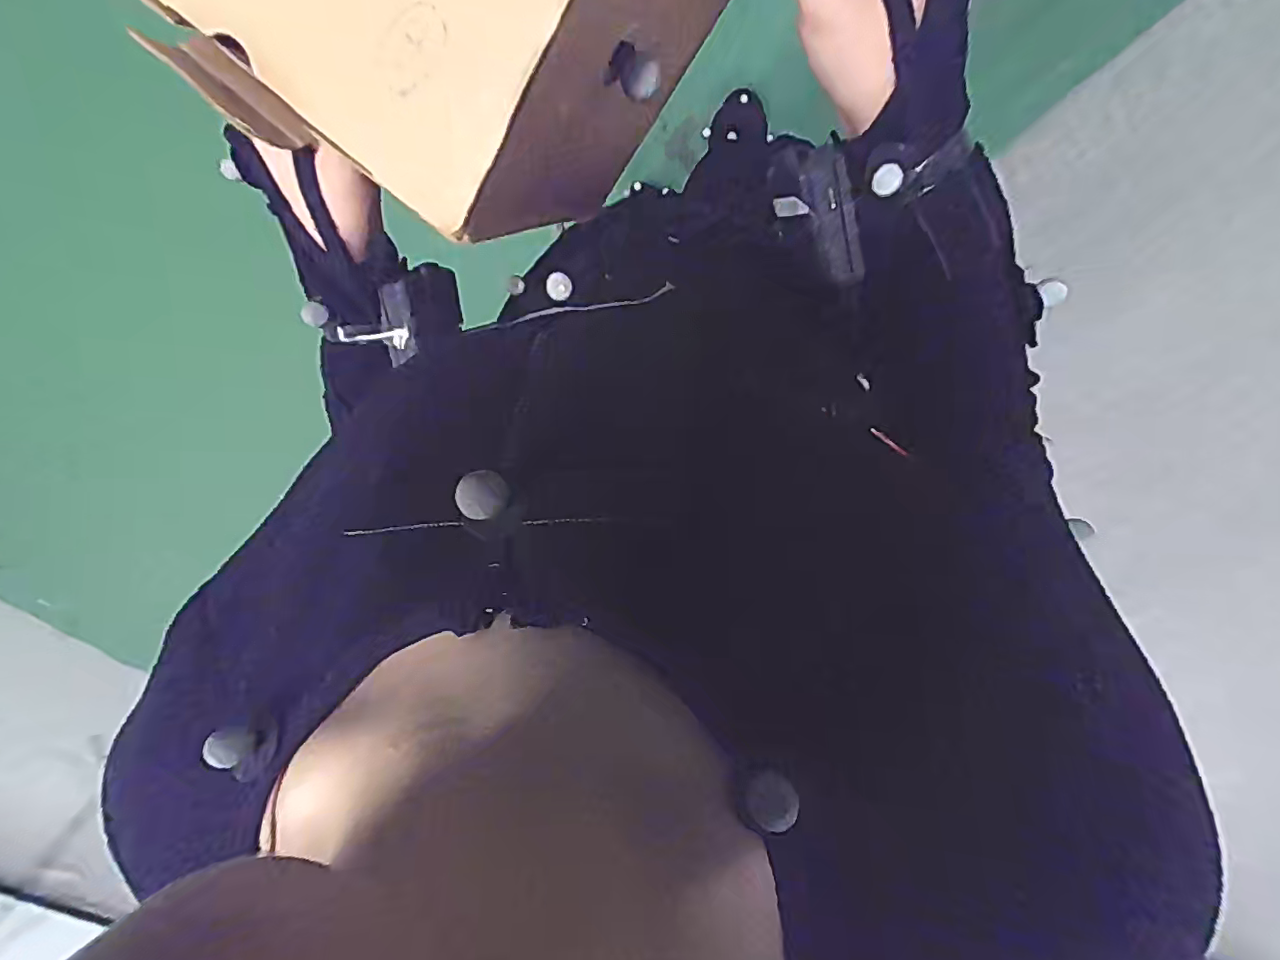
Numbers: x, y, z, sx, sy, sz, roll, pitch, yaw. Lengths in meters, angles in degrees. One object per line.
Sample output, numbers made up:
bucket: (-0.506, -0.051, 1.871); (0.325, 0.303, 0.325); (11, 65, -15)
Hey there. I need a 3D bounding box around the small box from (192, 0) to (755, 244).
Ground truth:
small box: (-0.046, -0.223, 0.205); (0.168, 0.176, 0.179); (38, 120, -9)
